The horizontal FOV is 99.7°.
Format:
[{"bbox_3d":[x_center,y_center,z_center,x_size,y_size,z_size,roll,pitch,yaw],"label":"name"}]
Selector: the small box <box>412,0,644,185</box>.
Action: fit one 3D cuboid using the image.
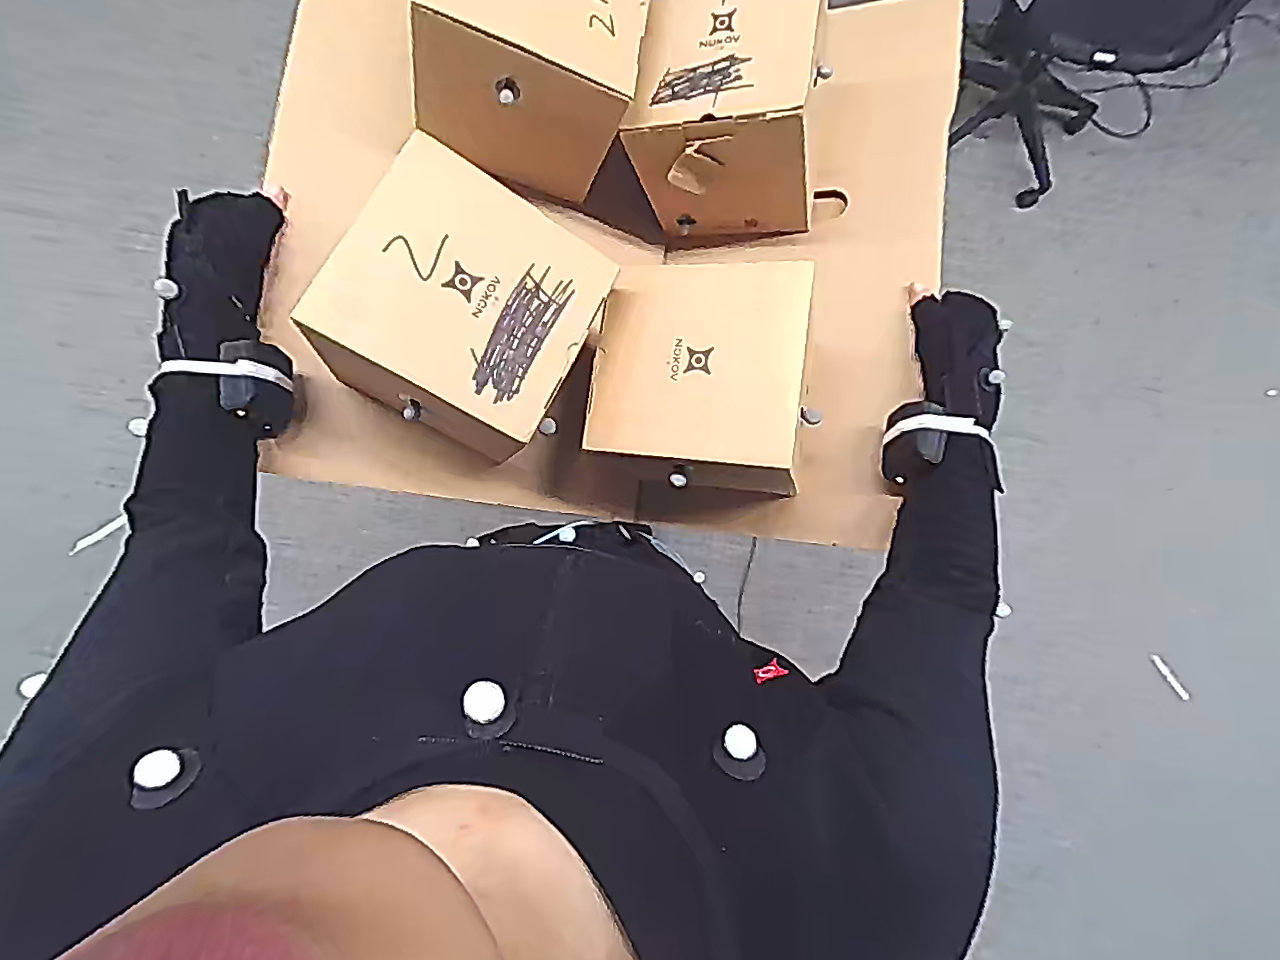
[{"bbox_3d":[-0.105,-0.411,0.497,0.179,0.176,0.168,11,84,-21],"label":"small box"}]
